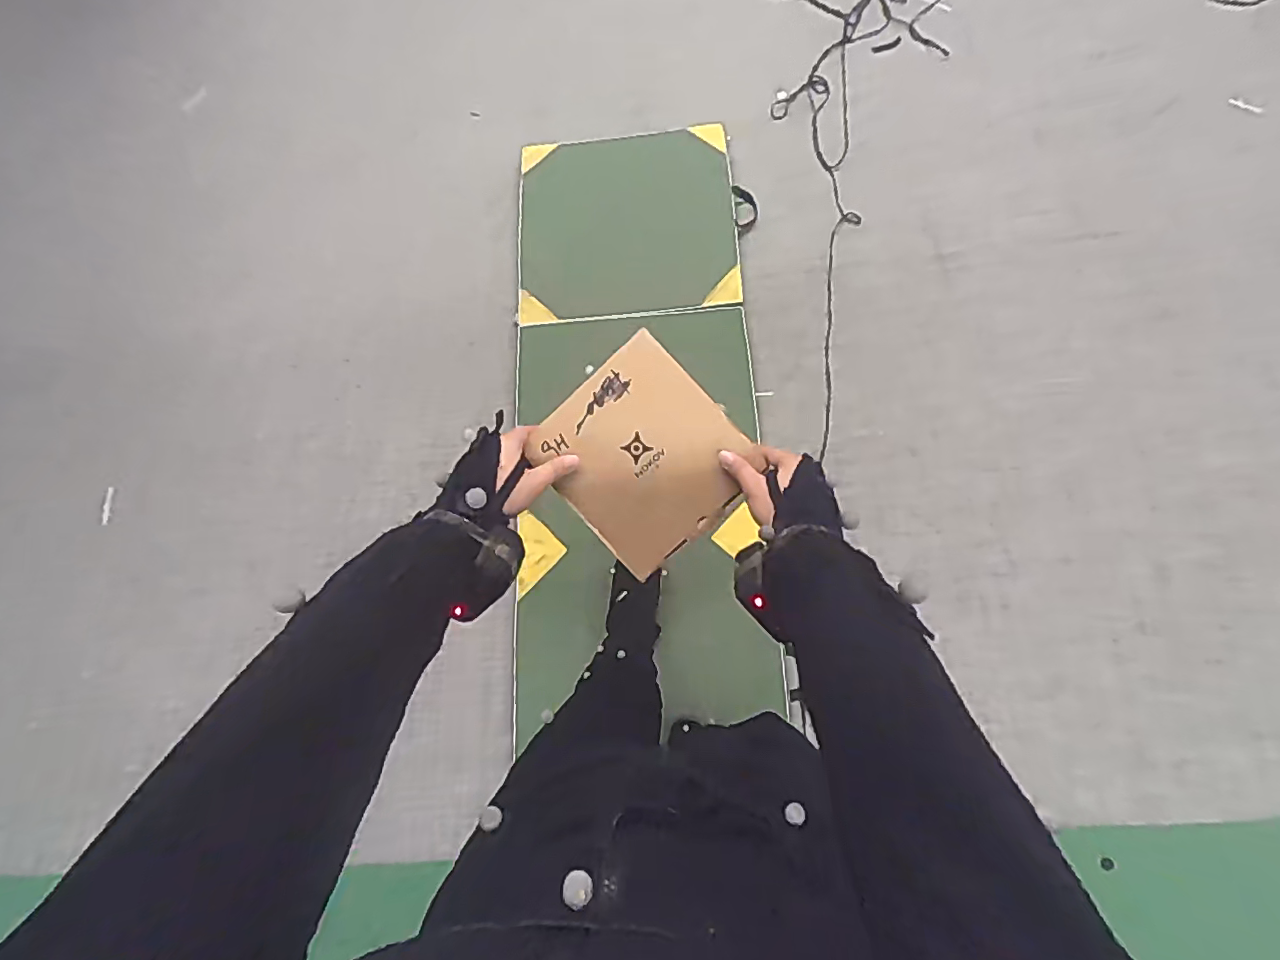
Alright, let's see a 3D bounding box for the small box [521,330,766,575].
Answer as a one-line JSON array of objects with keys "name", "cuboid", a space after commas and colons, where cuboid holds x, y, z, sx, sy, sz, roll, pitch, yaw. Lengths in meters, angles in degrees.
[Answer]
[{"name": "small box", "cuboid": [0.007, -0.029, 0.585, 0.168, 0.176, 0.179, -42, 89, 3]}]
